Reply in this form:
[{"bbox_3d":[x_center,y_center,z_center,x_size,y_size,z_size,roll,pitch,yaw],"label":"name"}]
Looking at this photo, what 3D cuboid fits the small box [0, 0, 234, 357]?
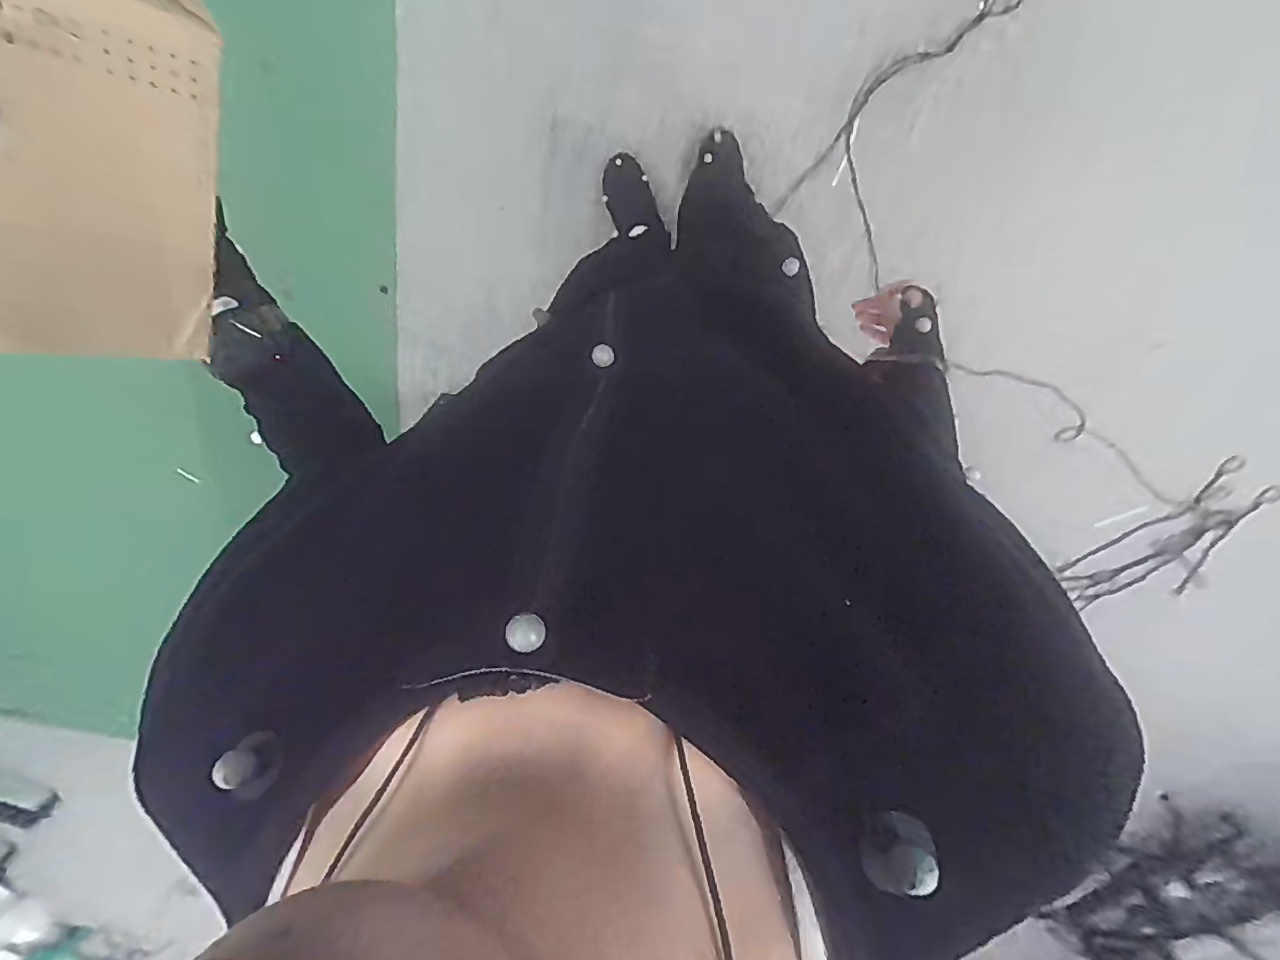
[{"bbox_3d":[-0.297,-0.180,0.235,0.168,0.179,0.176,-8,144,-46],"label":"small box"}]
